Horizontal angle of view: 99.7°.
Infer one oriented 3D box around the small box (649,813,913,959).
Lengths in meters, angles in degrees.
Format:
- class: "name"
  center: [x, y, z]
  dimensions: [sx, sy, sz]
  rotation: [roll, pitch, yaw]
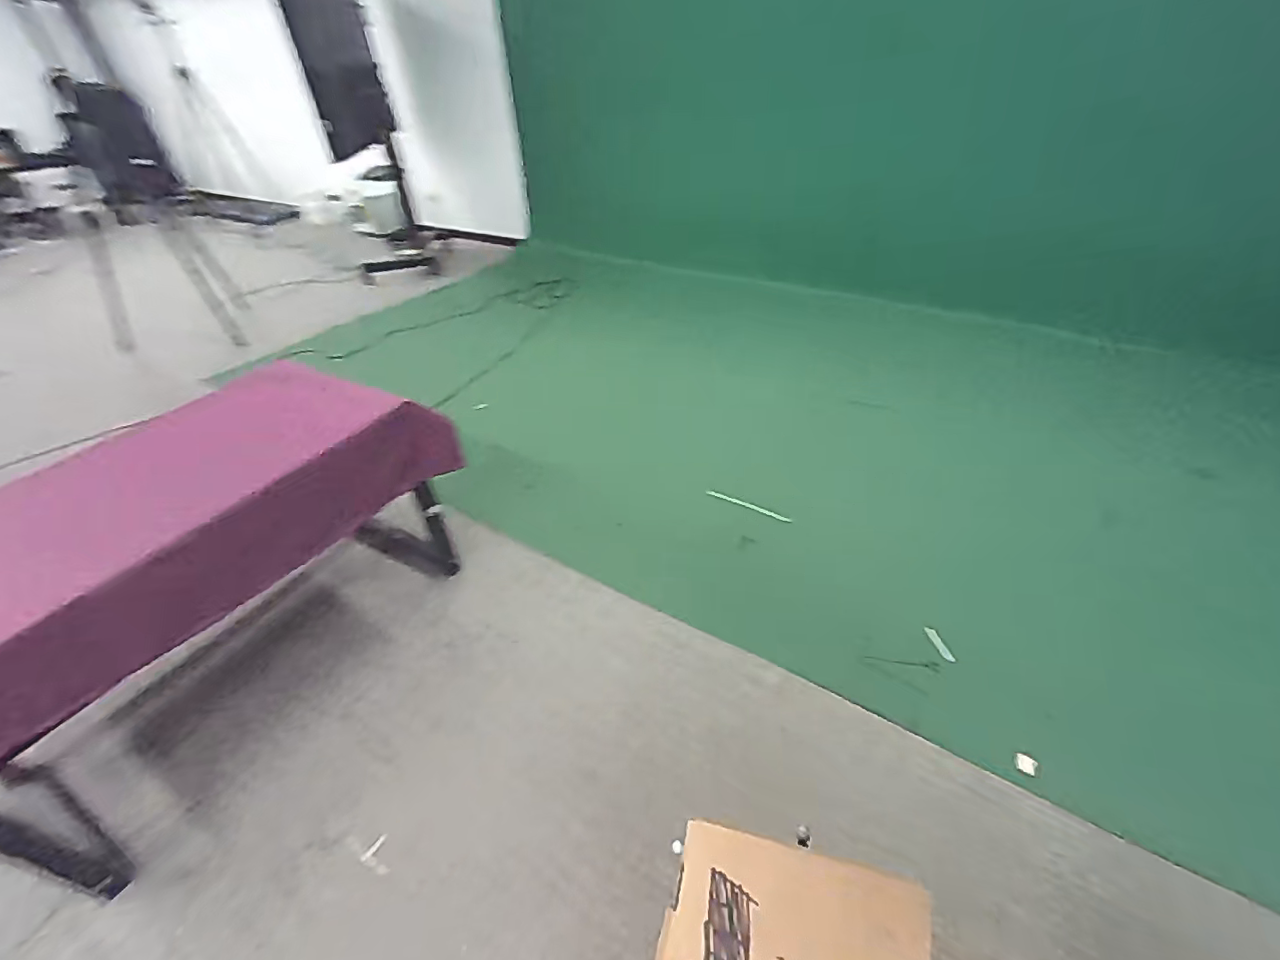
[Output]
- class: "small box"
  center: [0.100, 0.385, 0.434]
  dimensions: [0.179, 0.176, 0.168]
  rotation: [10, 61, 11]
